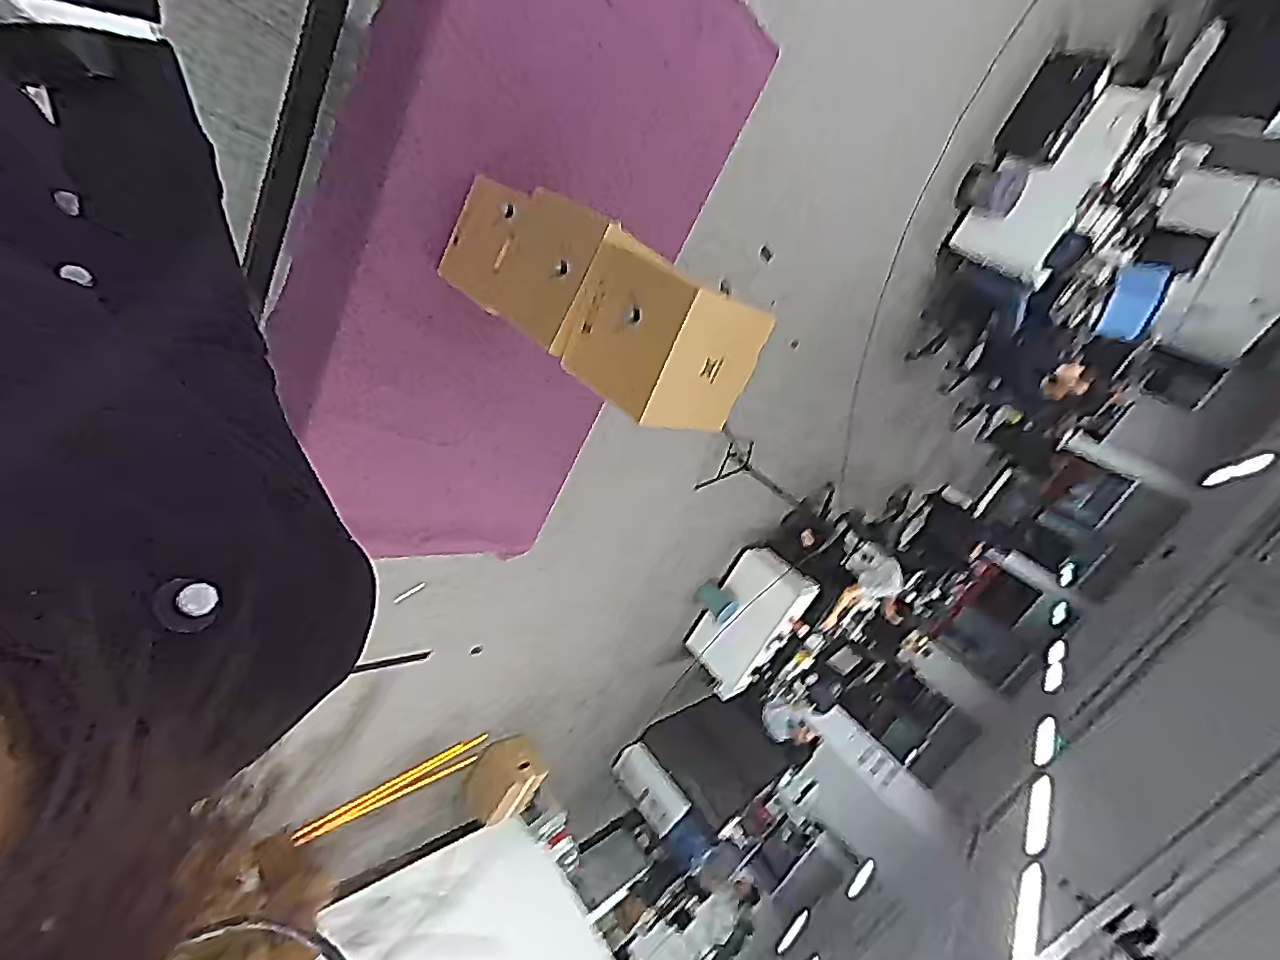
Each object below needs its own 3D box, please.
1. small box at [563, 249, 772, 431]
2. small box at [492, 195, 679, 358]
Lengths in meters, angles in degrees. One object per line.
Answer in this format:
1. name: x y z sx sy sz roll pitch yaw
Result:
1. small box: 0.030 -0.178 0.698 0.179 0.176 0.168 -3 125 -50
2. small box: -0.083 -0.271 0.772 0.168 0.176 0.179 9 116 -53
